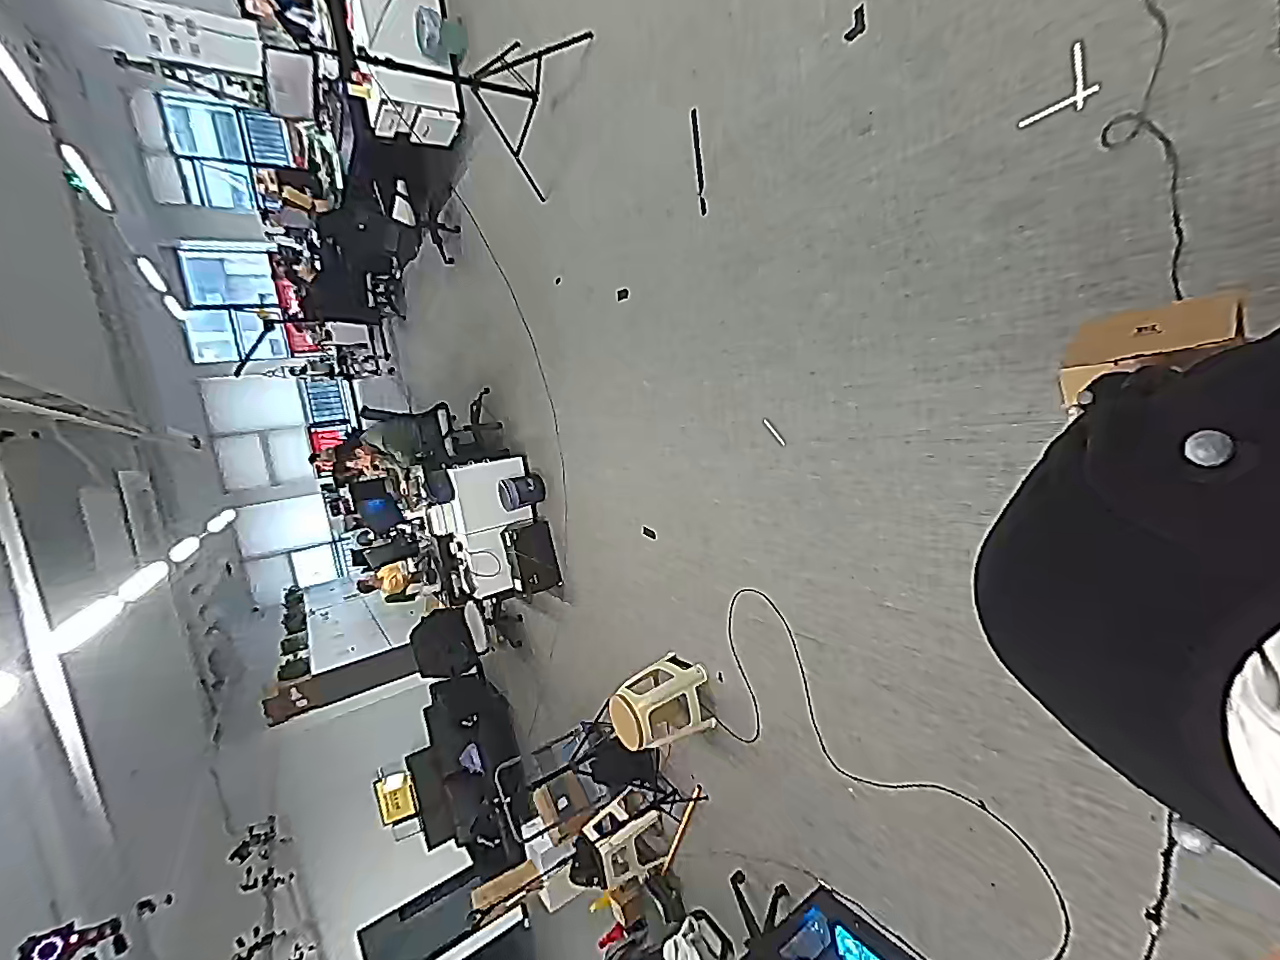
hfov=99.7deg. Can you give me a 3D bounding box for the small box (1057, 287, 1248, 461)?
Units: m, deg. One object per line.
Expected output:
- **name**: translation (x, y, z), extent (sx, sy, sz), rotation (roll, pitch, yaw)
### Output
- **small box**: translation (0.714, -0.135, 0.751), extent (0.168, 0.179, 0.176), rotation (-3, 120, 51)
